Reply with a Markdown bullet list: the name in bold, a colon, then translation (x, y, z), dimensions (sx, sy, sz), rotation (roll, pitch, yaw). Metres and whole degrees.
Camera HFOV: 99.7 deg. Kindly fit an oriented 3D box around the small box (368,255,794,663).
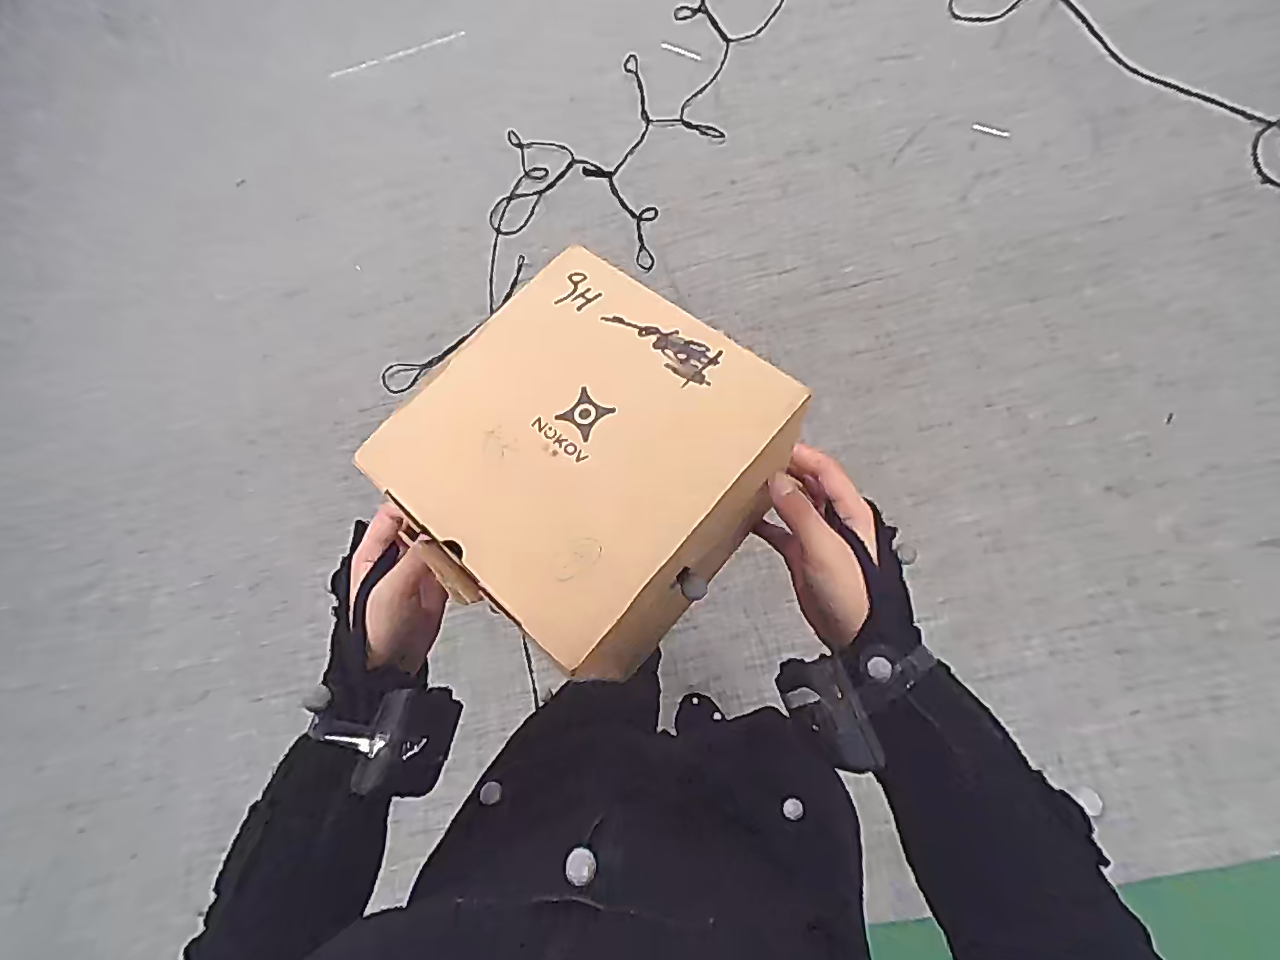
- **small box**: translation (-0.023, 0.002, 0.357), dimensions (0.168, 0.176, 0.179), rotation (38, 79, 19)
